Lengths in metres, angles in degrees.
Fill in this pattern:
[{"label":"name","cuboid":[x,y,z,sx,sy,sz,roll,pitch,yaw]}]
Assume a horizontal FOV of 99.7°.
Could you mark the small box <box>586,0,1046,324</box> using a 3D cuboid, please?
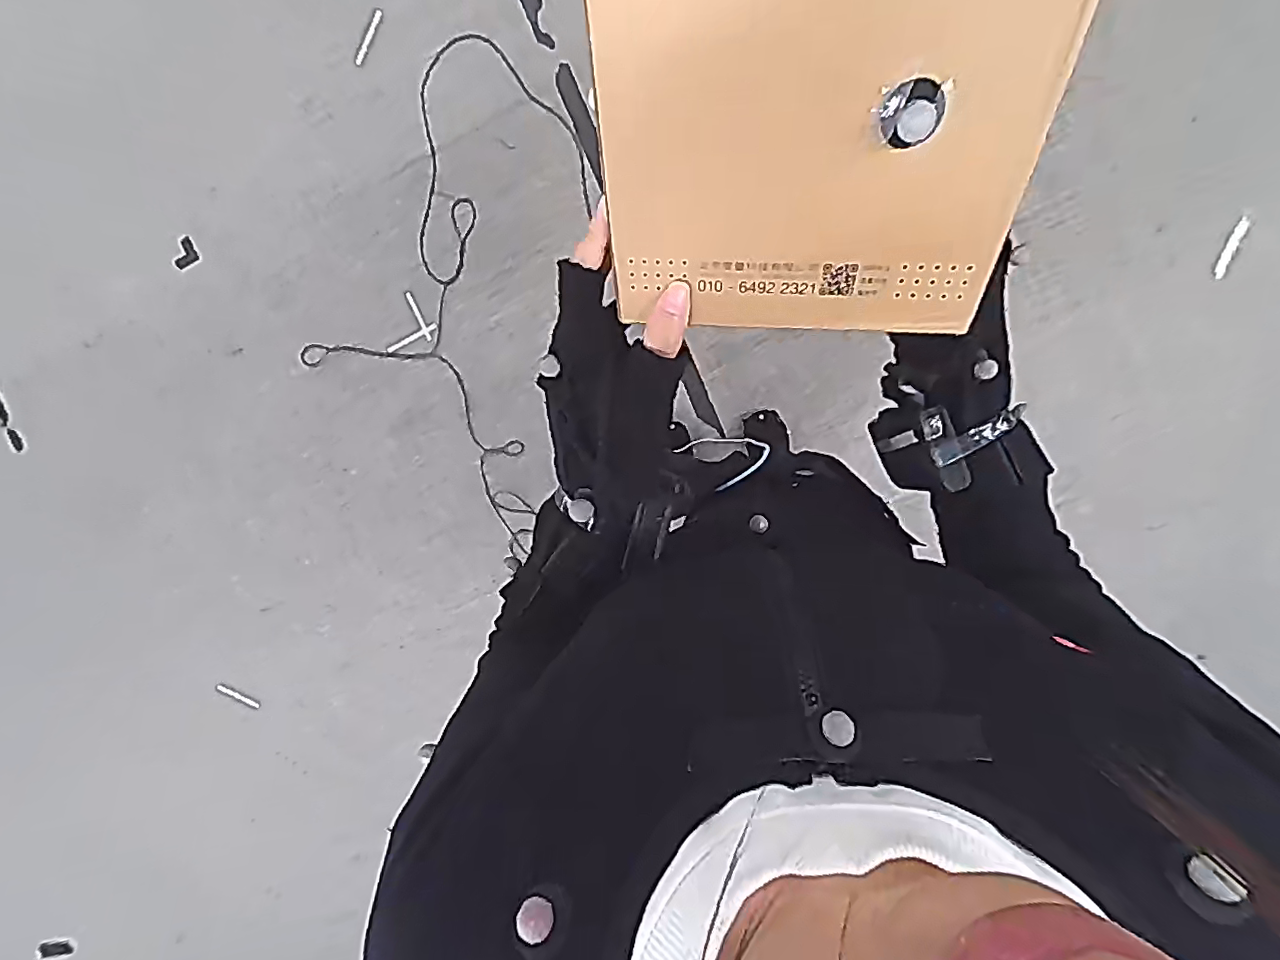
[{"label":"small box","cuboid":[0.082,-0.196,0.280,0.168,0.179,0.176,6,136,12]}]
